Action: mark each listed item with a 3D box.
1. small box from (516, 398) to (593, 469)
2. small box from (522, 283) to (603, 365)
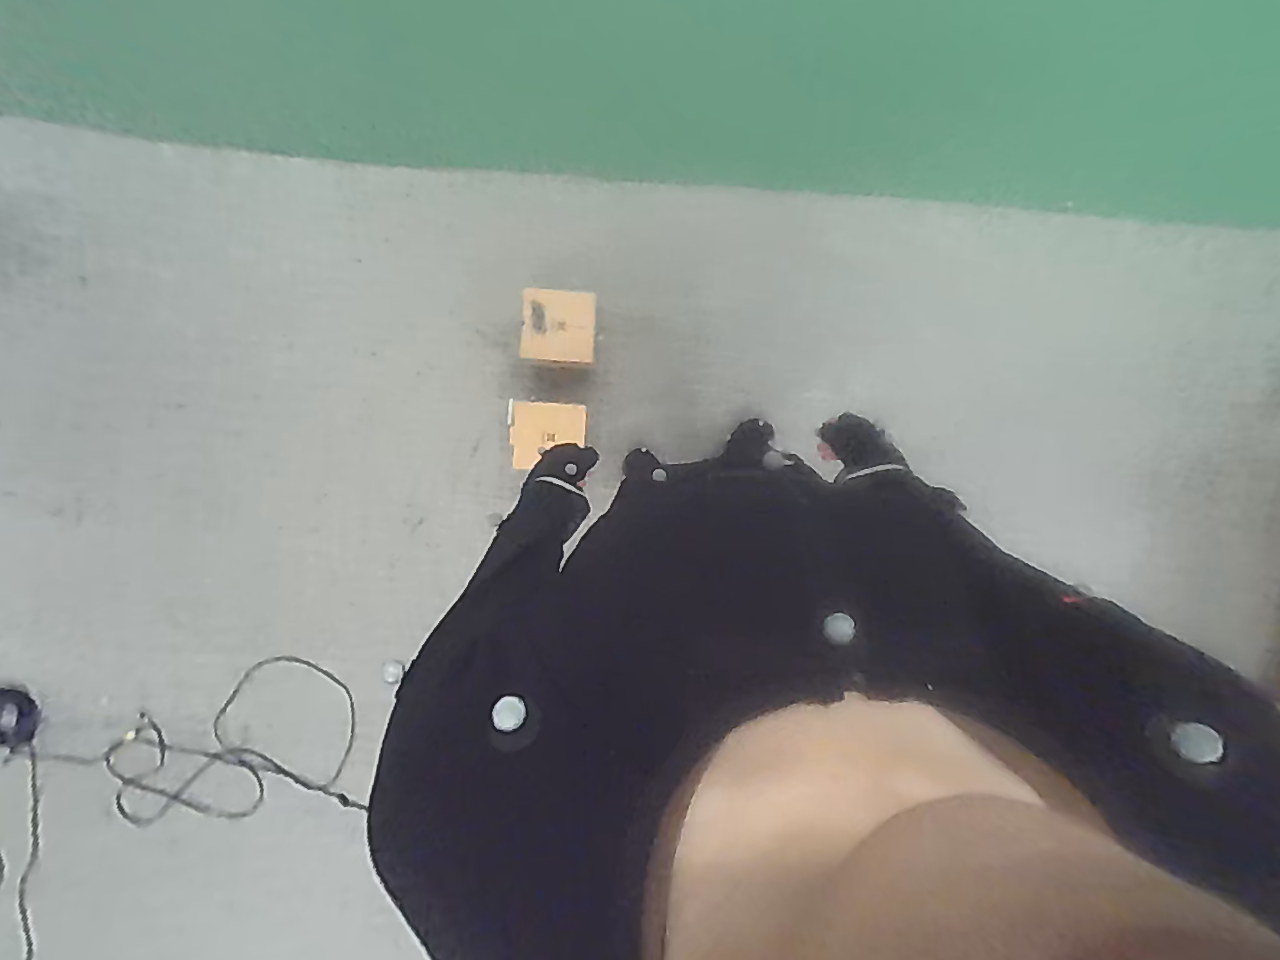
[{"bbox_3d":[-0.212,-0.120,1.376,0.179,0.176,0.168,3,96,-1],"label":"small box"},{"bbox_3d":[-0.188,-0.381,1.346,0.179,0.176,0.168,3,96,-2],"label":"small box"}]
